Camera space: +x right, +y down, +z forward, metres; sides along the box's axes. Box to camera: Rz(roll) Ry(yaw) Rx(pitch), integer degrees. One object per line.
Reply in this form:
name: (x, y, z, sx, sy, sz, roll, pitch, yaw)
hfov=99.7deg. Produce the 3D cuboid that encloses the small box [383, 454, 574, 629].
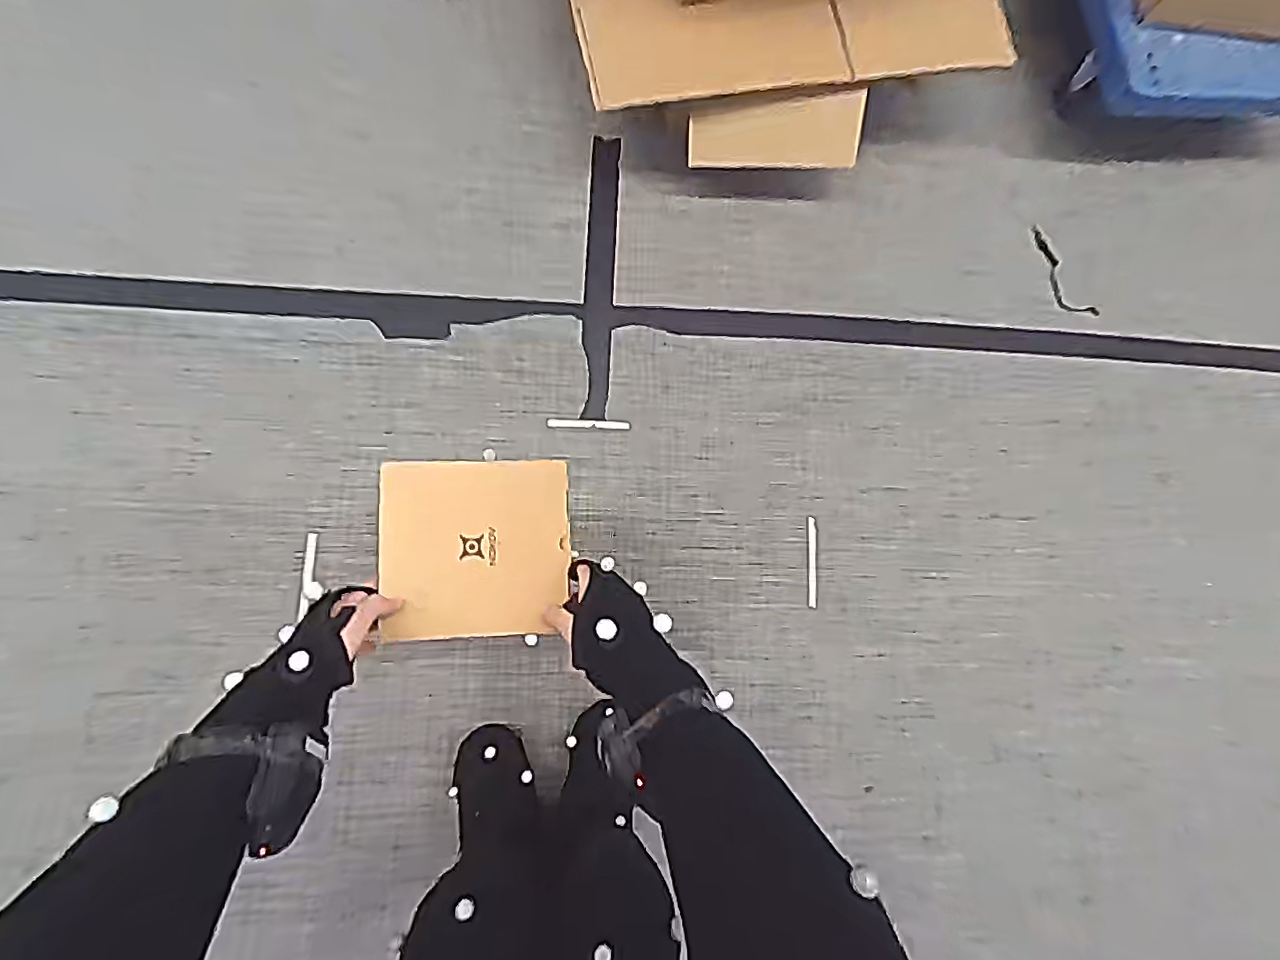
small box: (-0.164, 0.066, 0.592, 0.179, 0.176, 0.168, -1, 84, -10)
